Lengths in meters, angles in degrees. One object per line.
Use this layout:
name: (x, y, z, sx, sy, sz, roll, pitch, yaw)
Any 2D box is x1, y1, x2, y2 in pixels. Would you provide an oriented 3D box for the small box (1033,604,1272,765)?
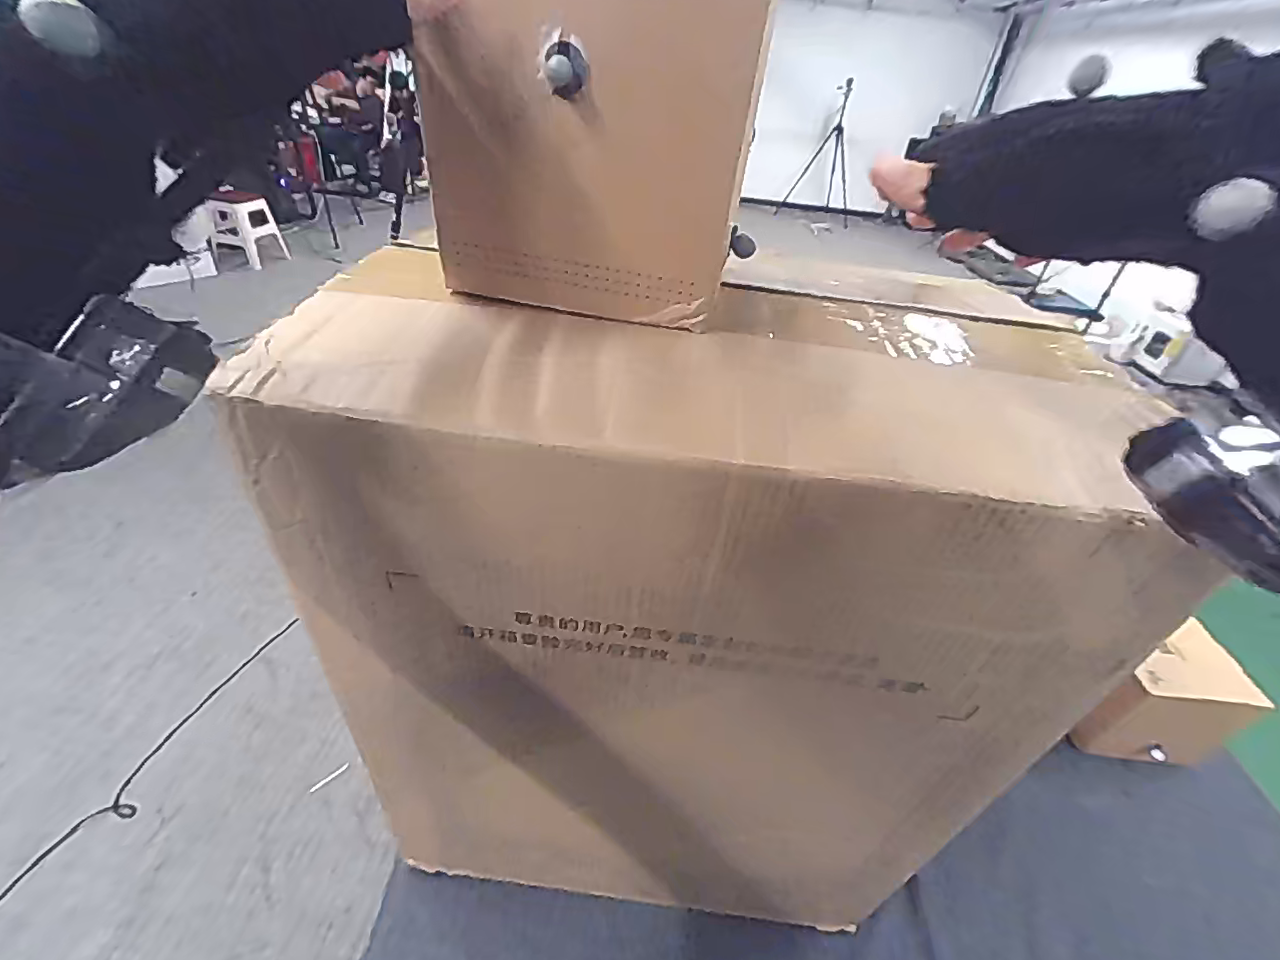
small box: (0.779, 0.323, 0.850, 0.179, 0.176, 0.168, 7, 37, 0)

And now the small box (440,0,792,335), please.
small box: (-0.009, -0.214, 0.358, 0.179, 0.176, 0.168, 13, 42, 4)
